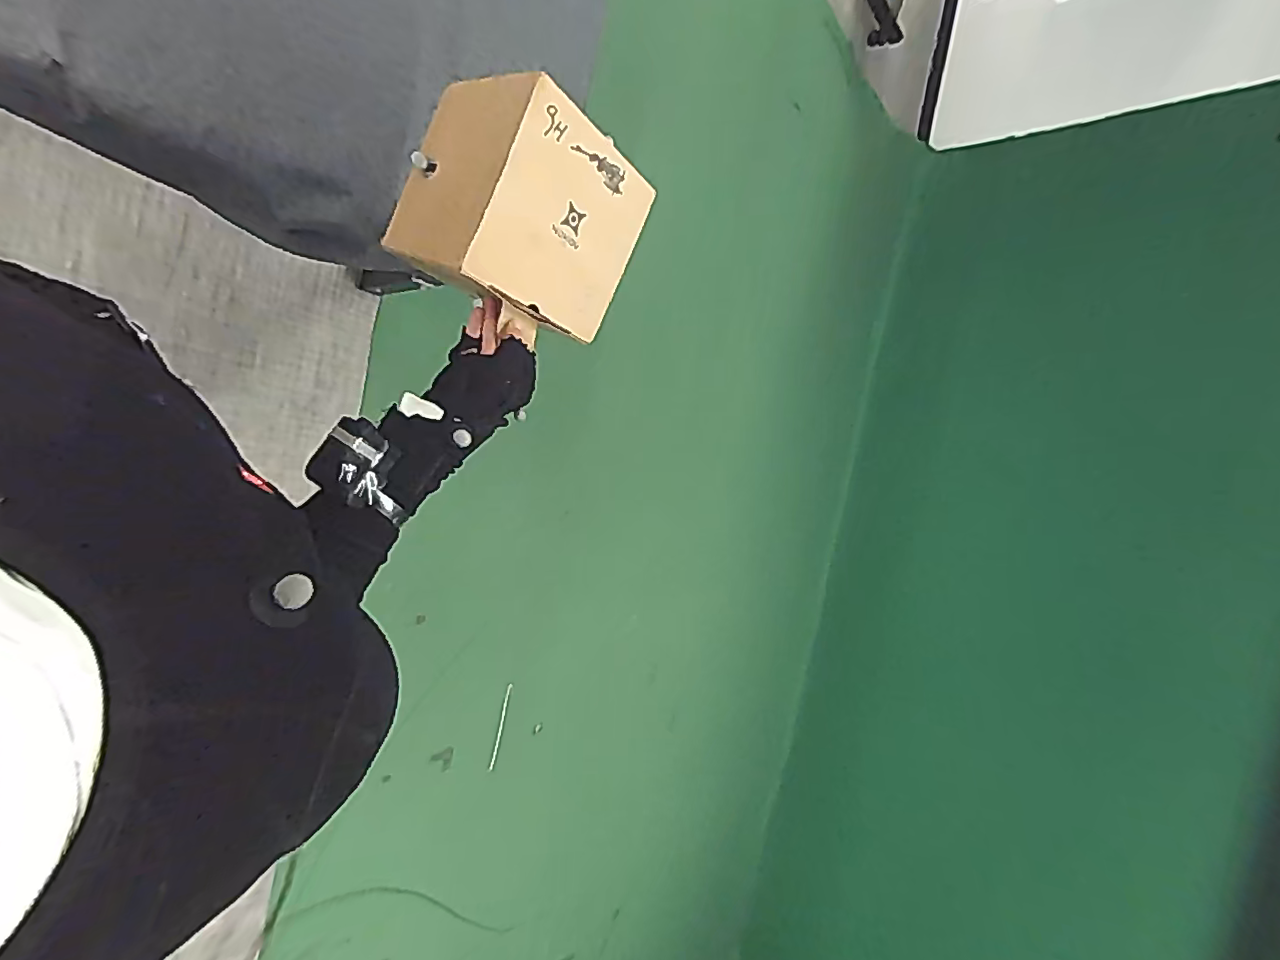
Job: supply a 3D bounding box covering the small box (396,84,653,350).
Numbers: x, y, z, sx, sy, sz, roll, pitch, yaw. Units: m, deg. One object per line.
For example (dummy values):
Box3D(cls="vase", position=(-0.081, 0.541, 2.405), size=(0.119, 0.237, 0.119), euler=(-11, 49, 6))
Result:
Box3D(cls="small box", position=(-0.124, -0.264, 0.560), size=(0.168, 0.176, 0.179), euler=(18, 99, -53))
